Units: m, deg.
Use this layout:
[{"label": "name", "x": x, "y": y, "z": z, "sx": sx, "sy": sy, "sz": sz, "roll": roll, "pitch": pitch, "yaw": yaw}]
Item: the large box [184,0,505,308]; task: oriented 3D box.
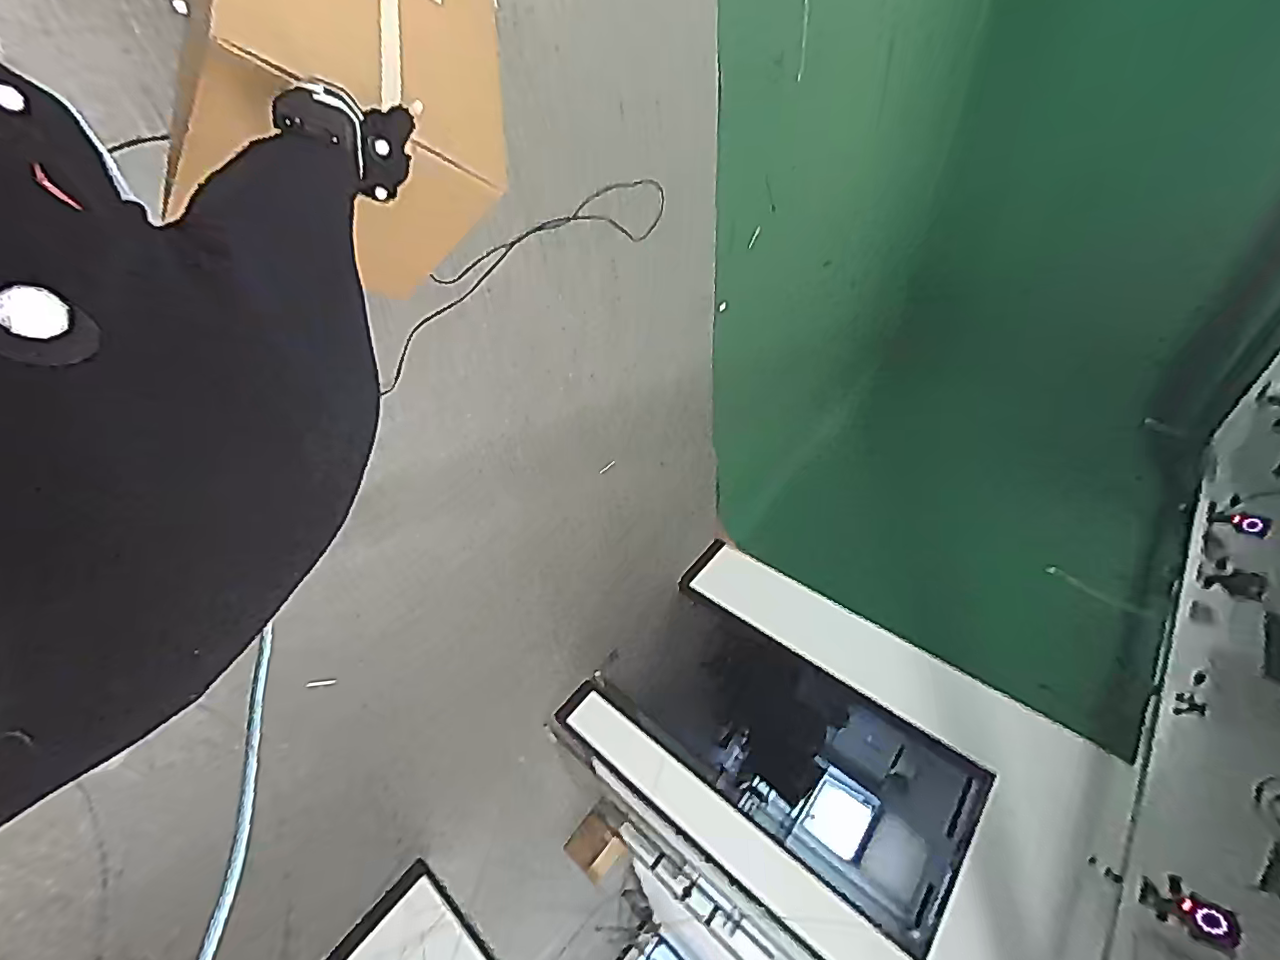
[{"label": "large box", "x": -0.419, "y": -0.528, "z": 0.769, "sx": 0.320, "sy": 0.320, "sz": 0.408, "roll": 9, "pitch": 68, "yaw": -47}]
